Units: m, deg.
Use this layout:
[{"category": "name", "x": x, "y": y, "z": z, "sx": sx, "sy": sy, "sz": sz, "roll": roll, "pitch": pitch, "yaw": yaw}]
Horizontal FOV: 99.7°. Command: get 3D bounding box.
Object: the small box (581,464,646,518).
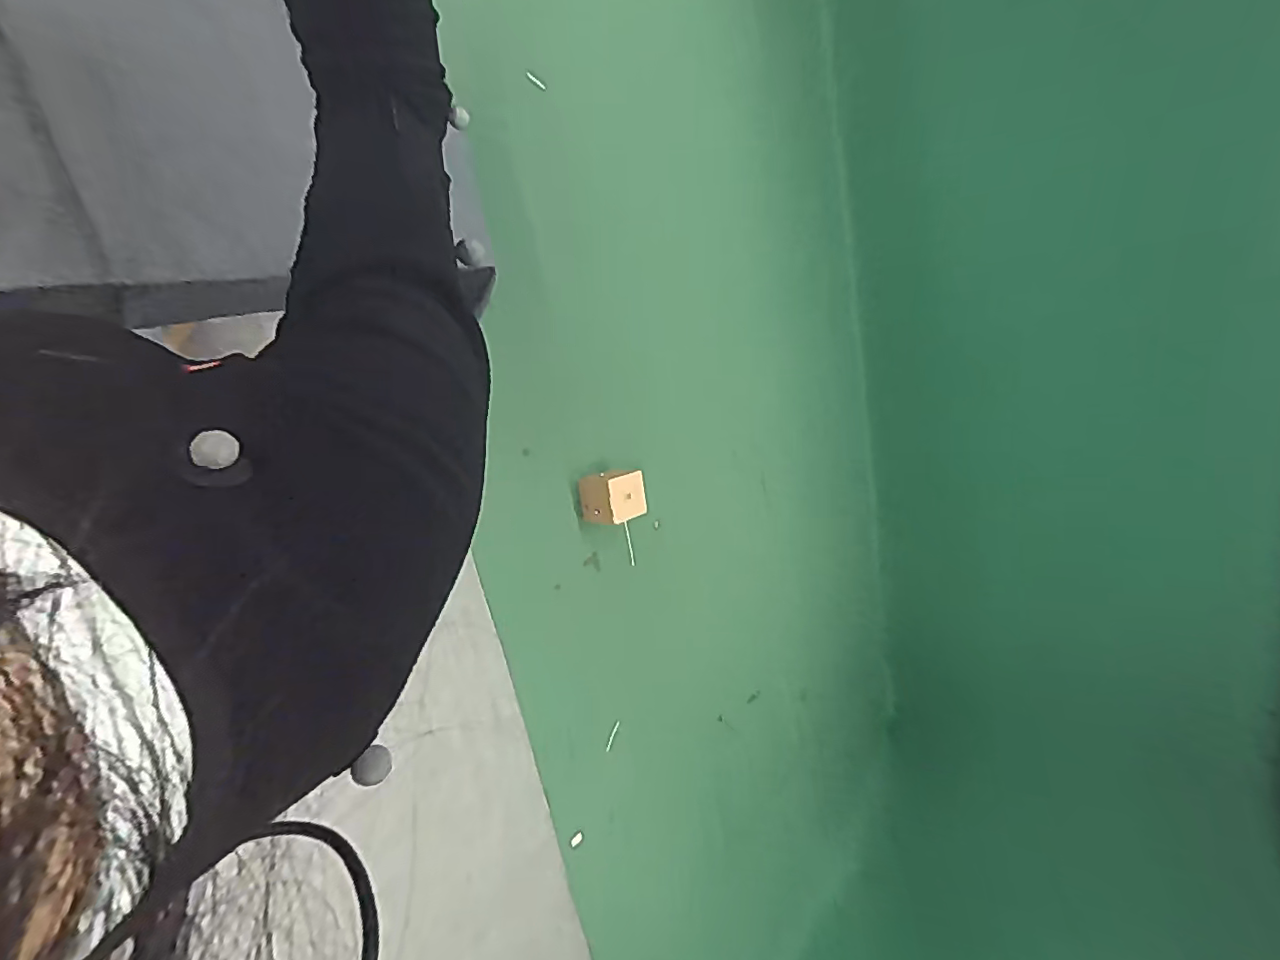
[{"category": "small box", "x": -0.104, "y": 0.039, "z": 2.007, "sx": 0.179, "sy": 0.176, "sz": 0.168, "roll": -19, "pitch": 105, "yaw": -44}]
